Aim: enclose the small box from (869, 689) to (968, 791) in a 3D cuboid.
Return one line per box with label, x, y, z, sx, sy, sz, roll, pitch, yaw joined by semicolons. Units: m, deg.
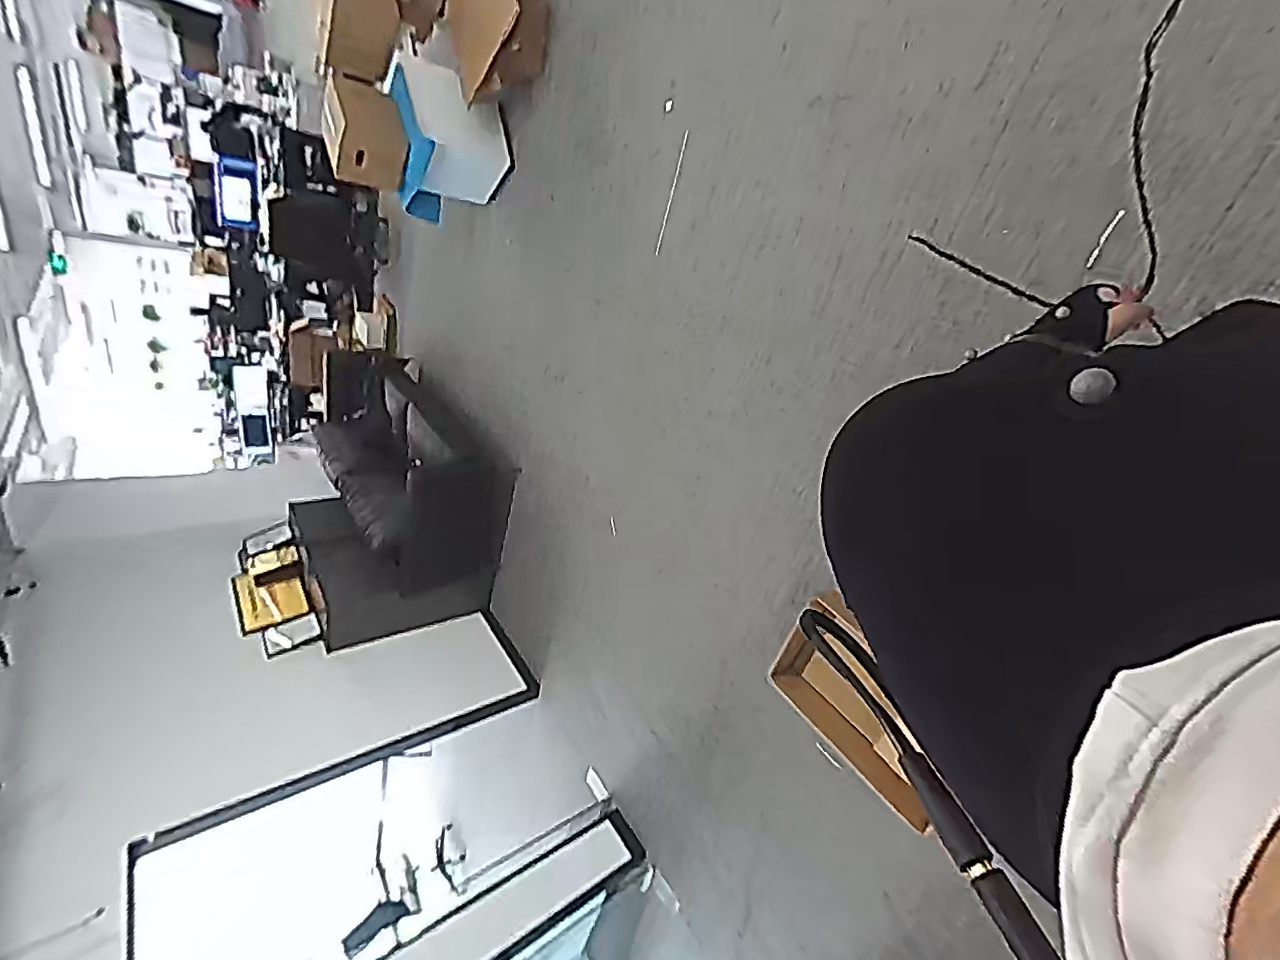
small box;0.805;0.736;1.552;0.168;0.176;0.179;43;127;37
